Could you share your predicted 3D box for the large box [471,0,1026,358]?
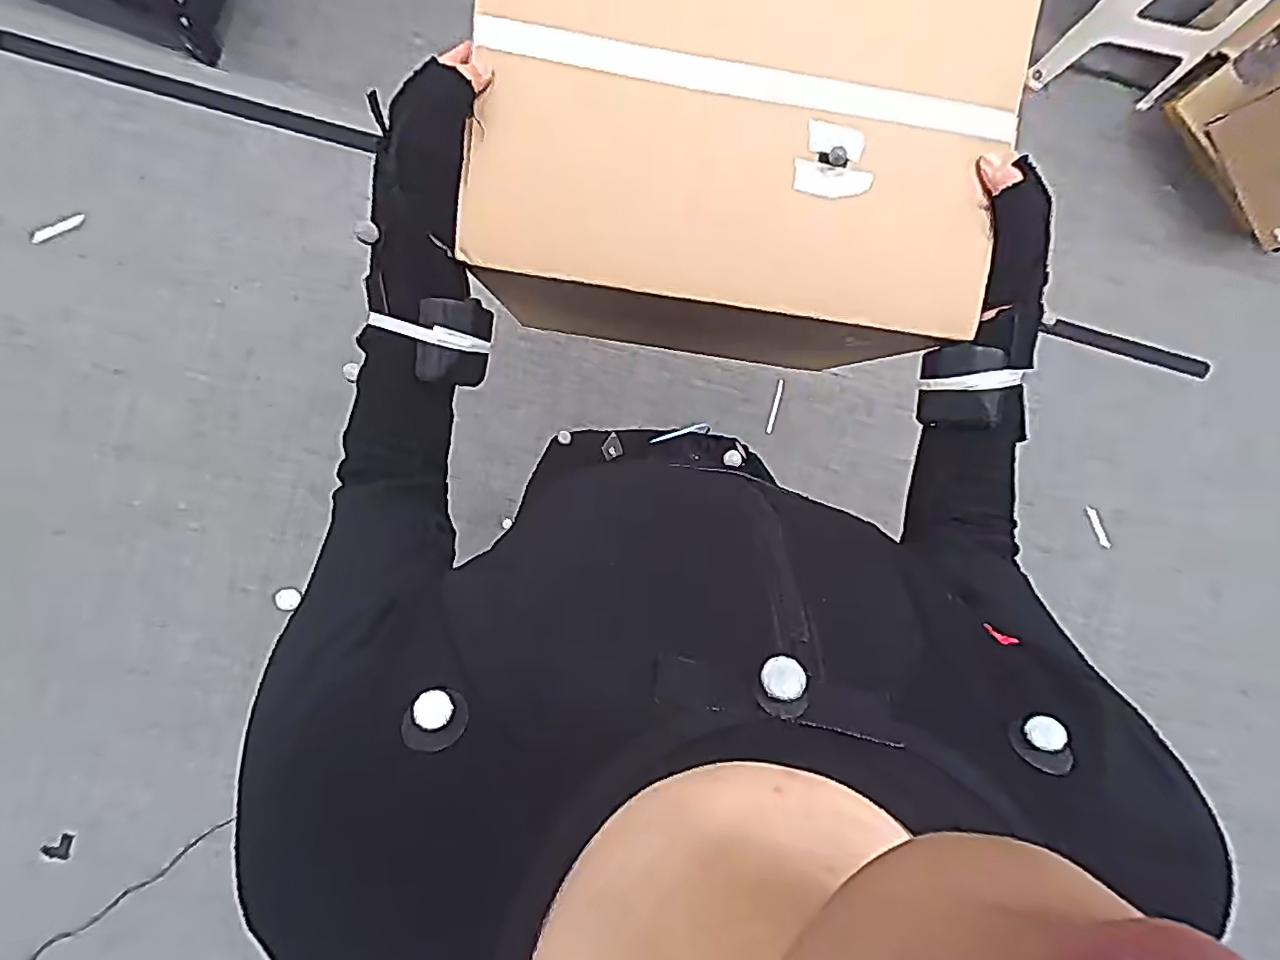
[{"bbox_3d":[0.073,-0.317,0.552,0.408,0.320,0.320,7,98,-5],"label":"large box"}]
